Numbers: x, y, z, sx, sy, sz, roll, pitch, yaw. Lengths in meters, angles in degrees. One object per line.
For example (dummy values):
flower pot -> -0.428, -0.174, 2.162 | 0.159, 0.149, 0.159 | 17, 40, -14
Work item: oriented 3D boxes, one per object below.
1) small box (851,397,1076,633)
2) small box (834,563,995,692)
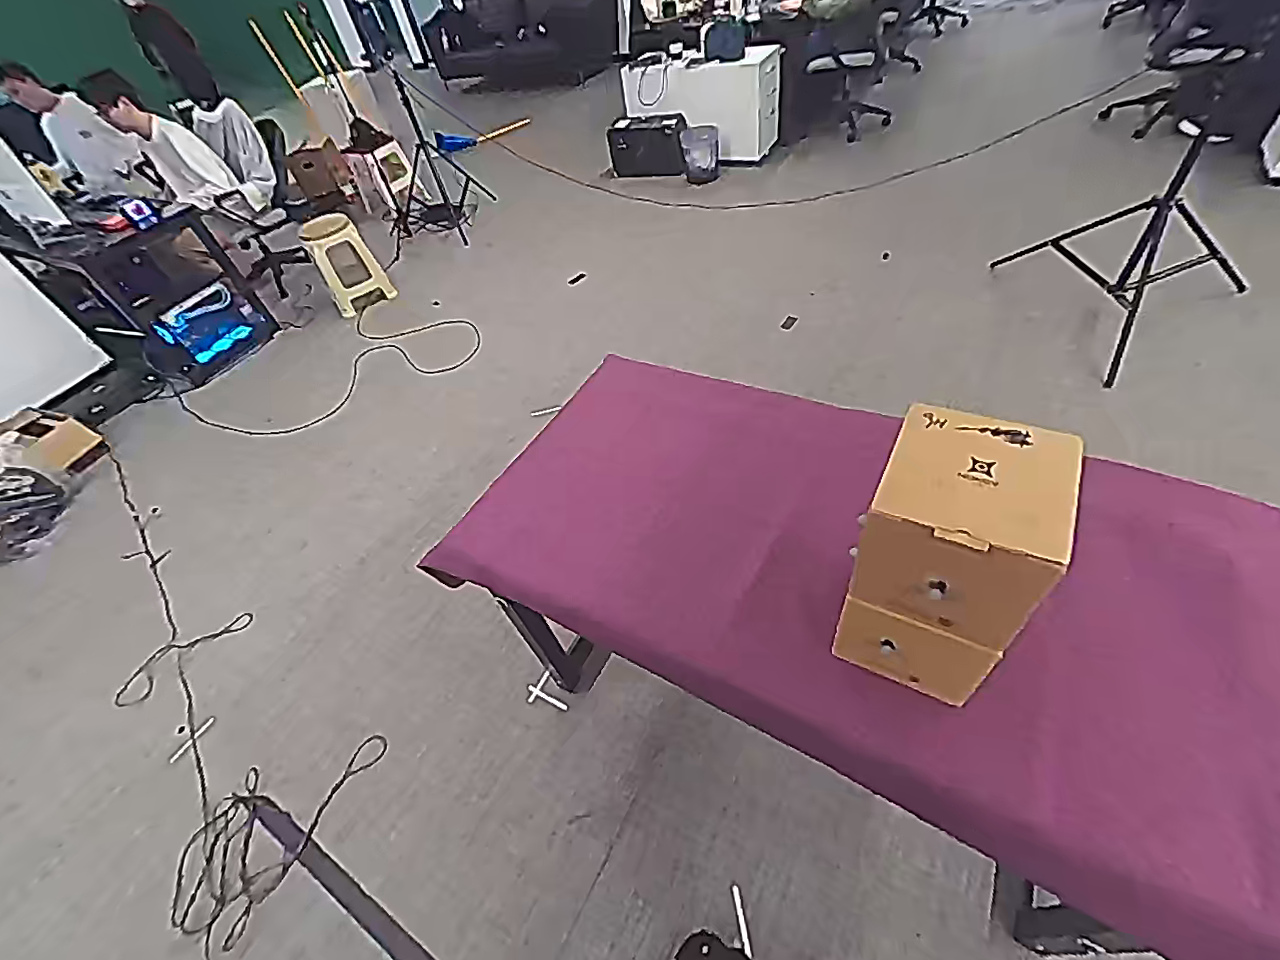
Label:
small box -> 0.345, 0.040, 0.601 | 0.168, 0.176, 0.179 | 19, 55, 26
small box -> 0.367, 0.150, 0.720 | 0.168, 0.176, 0.179 | 18, 54, 25
